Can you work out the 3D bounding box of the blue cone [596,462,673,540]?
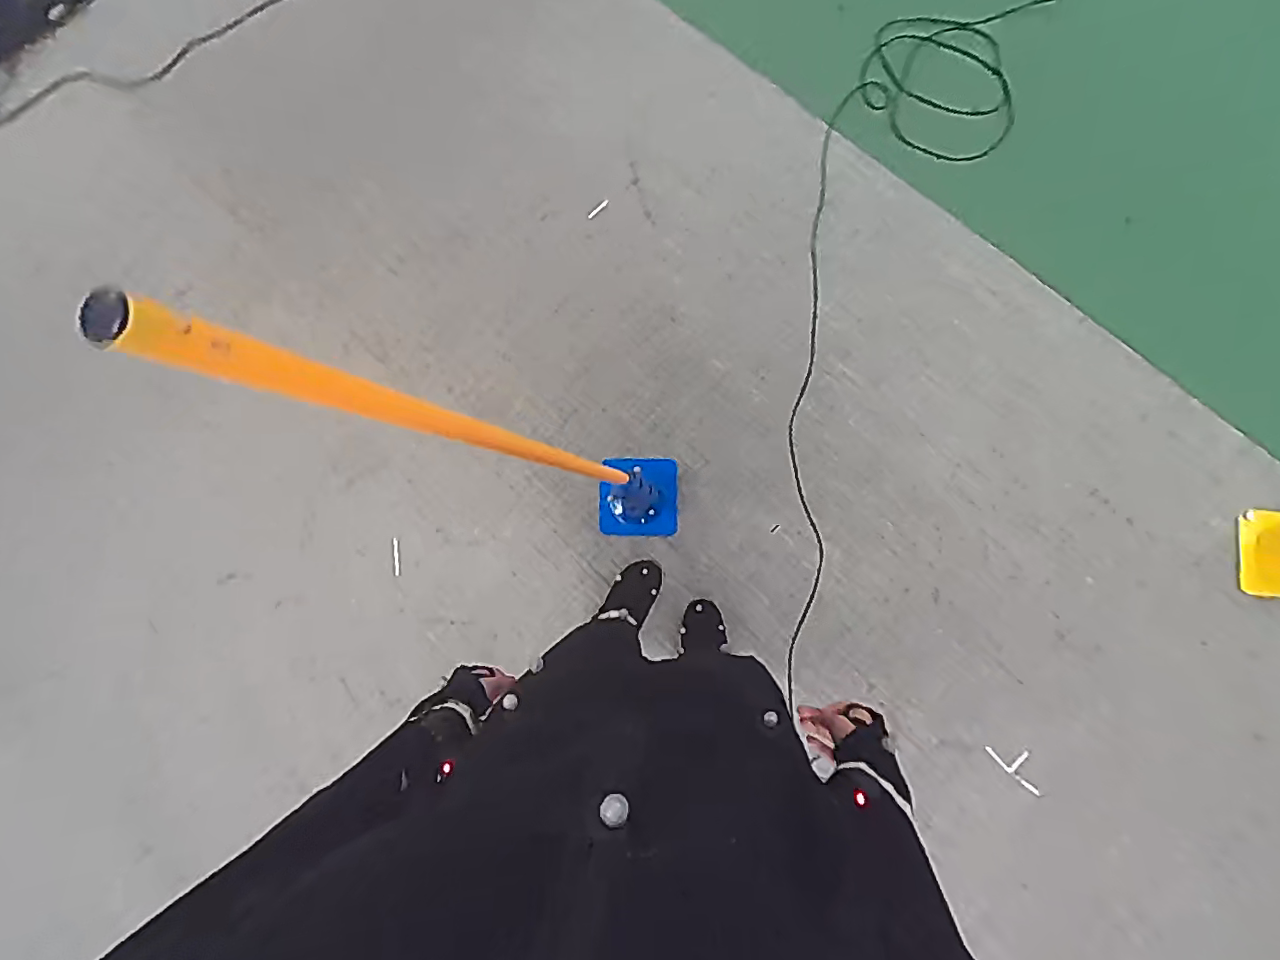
[{"bbox_3d":[-0.029,0.032,1.185,0.193,0.380,0.192,-2,83,5],"label":"blue cone"}]
